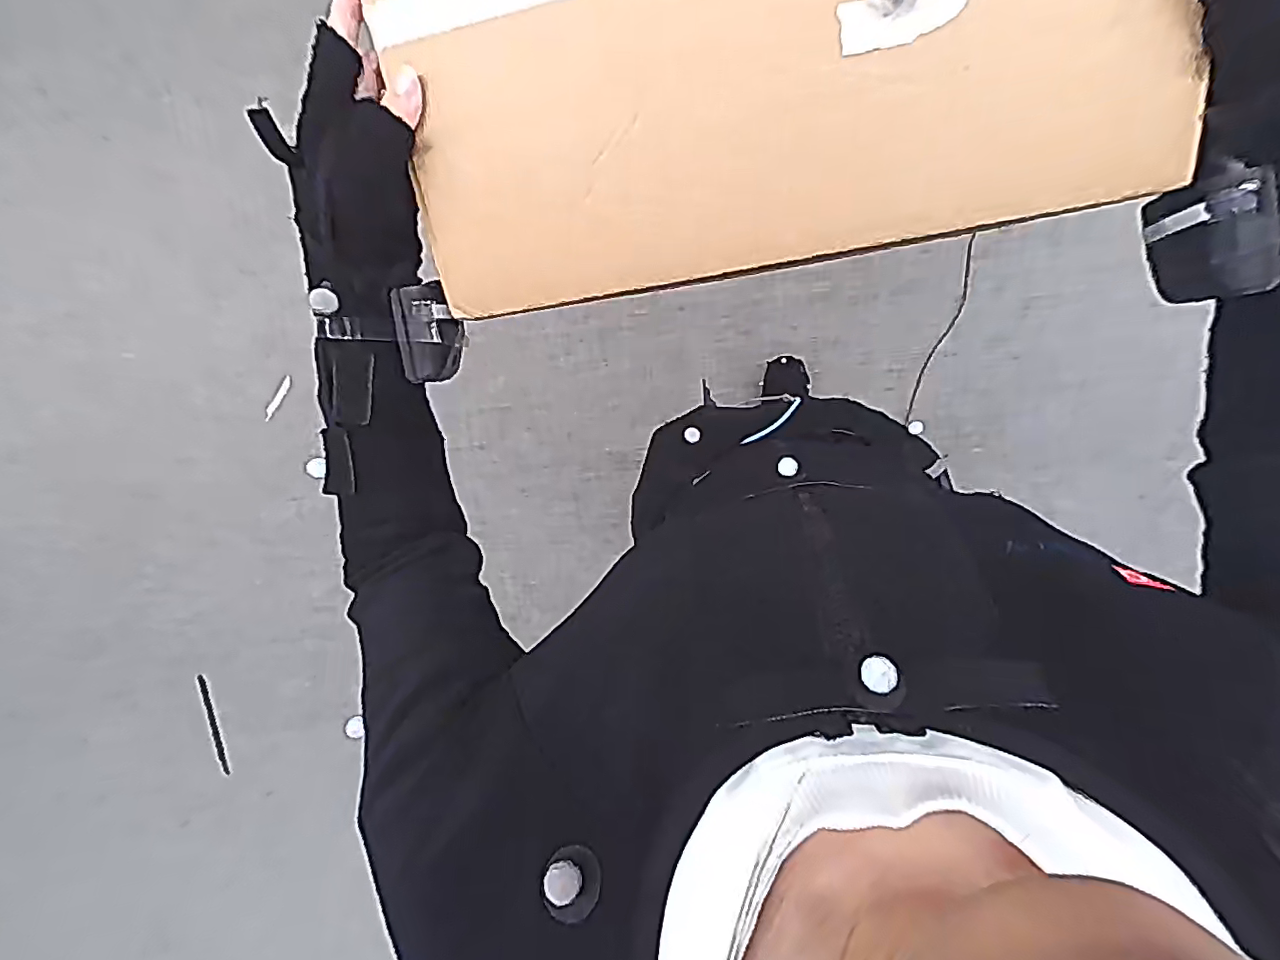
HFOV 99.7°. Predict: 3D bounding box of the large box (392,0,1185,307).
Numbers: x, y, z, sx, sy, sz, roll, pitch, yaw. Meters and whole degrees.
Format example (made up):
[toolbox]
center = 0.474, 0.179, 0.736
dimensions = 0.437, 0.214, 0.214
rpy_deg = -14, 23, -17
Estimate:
[large box]
center = 0.072, -0.332, 0.410
dimensions = 0.408, 0.320, 0.320
rpy_deg = -7, 110, 10
